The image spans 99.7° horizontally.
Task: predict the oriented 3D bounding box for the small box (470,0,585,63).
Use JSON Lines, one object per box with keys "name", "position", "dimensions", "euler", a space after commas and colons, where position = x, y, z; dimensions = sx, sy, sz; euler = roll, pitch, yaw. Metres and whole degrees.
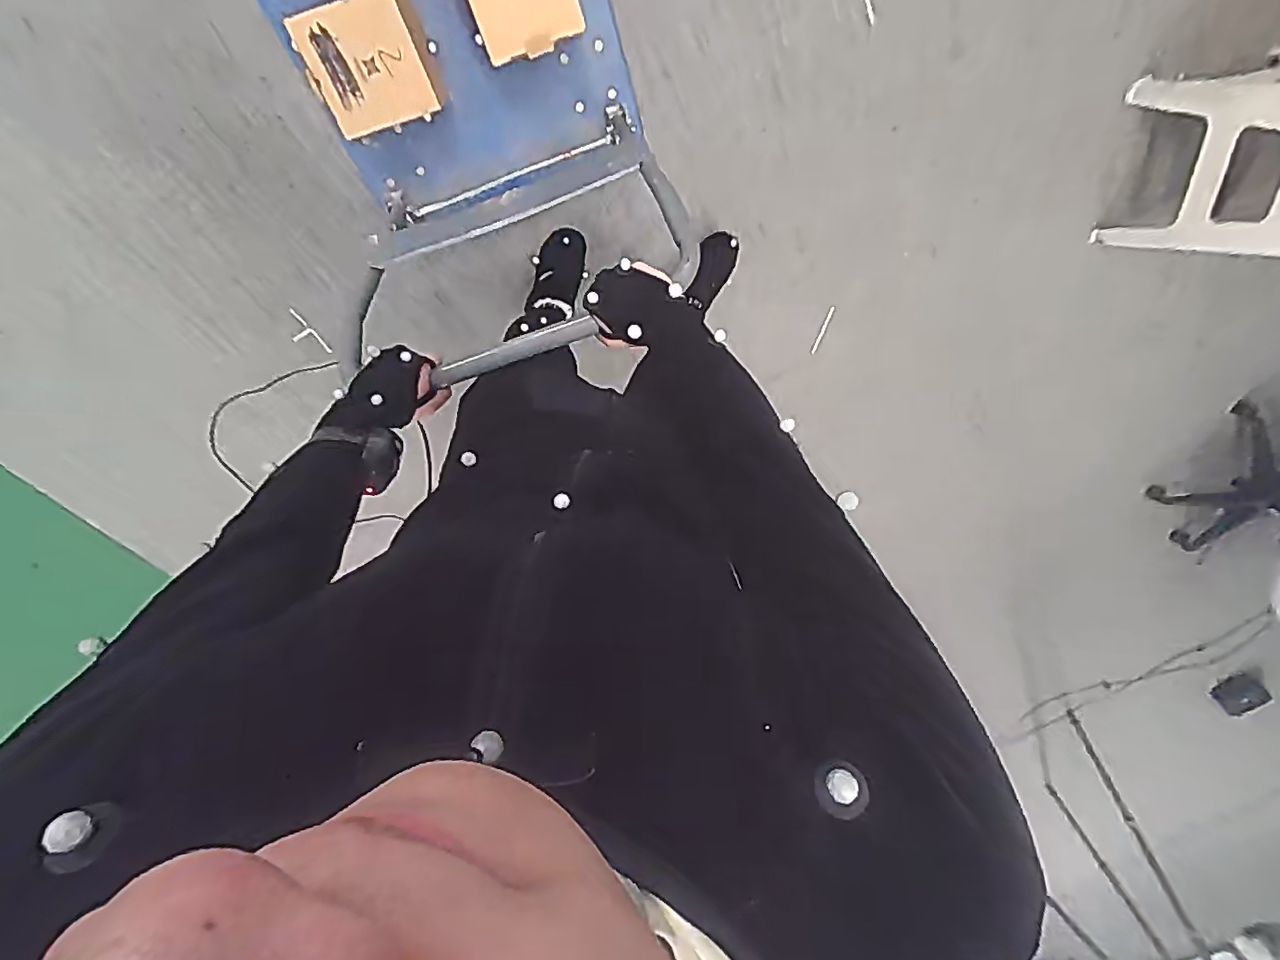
{"name": "small box", "position": [-0.202, -0.821, 0.887], "dimensions": [0.168, 0.176, 0.179], "euler": [-18, 133, 4]}
